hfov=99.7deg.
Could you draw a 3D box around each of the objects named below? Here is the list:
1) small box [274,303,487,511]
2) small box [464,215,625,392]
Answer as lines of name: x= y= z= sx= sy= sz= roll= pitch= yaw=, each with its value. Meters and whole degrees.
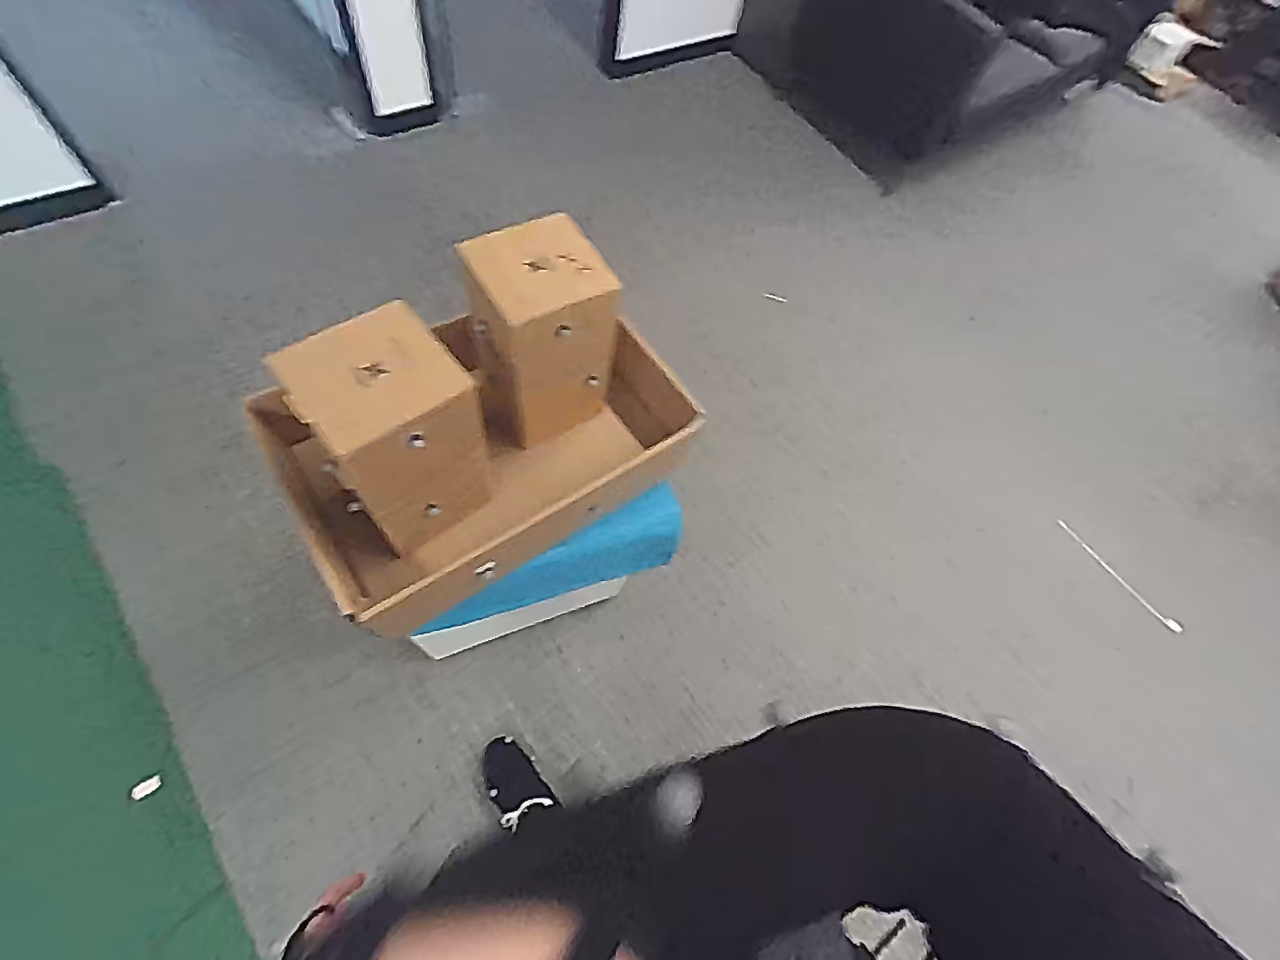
small box: x=-0.320 y=-0.088 z=0.706 sx=0.179 sy=0.176 sz=0.168 roll=-36 pitch=74 yaw=-24
small box: x=-0.143 y=-0.262 z=0.825 sx=0.179 sy=0.176 sz=0.168 roll=-26 pitch=71 yaw=-21
